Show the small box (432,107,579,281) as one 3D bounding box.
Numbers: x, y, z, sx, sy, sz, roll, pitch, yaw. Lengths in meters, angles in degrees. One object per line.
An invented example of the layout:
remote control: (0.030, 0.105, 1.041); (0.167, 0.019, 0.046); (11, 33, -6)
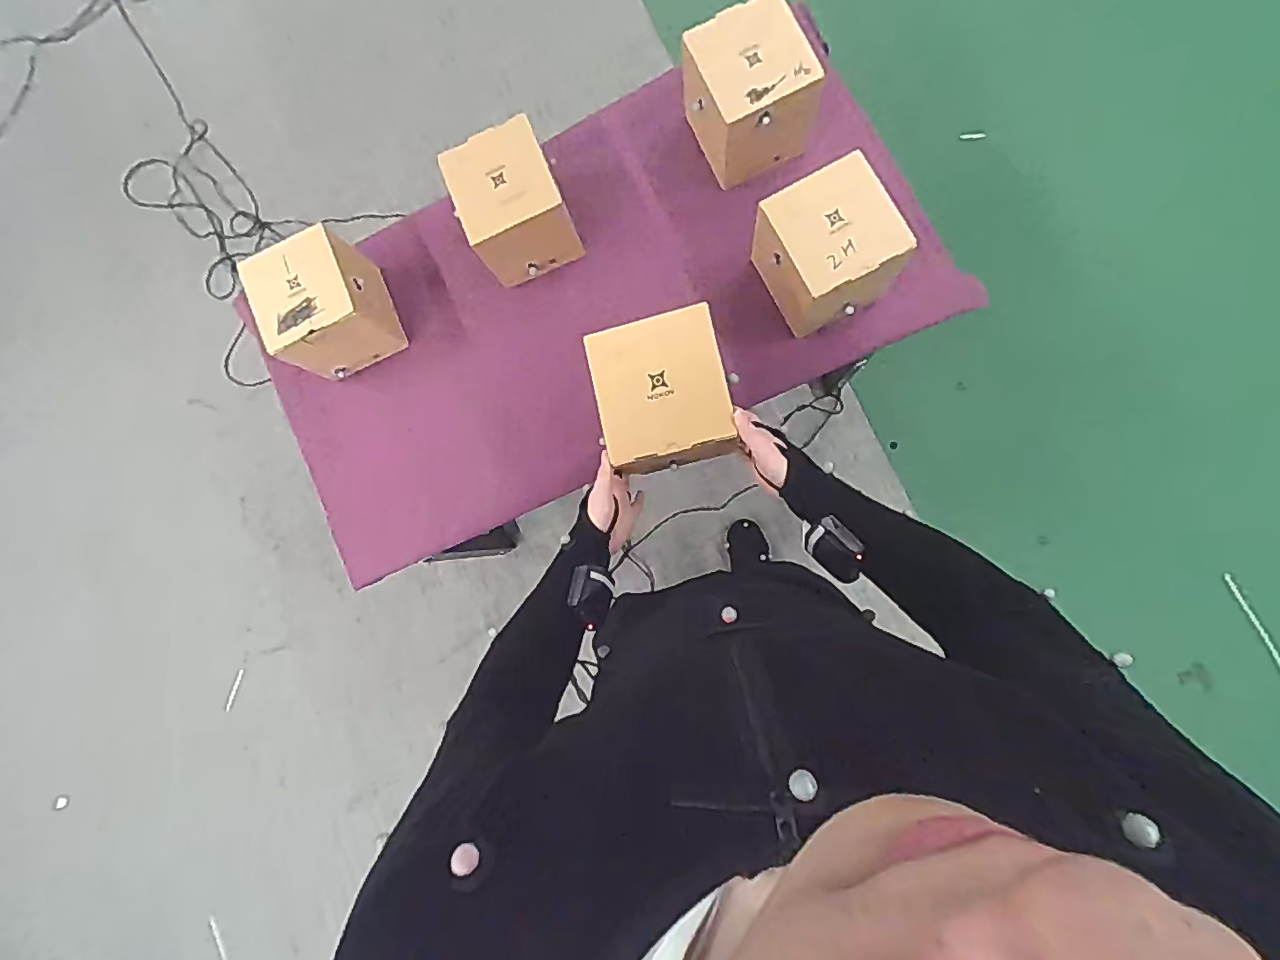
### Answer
small box: (-0.223, -0.483, 0.937); (0.168, 0.176, 0.179); (-23, 85, 4)

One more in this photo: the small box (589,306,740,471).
small box: (0.038, -0.116, 0.760); (0.168, 0.176, 0.179); (-13, 87, 7)

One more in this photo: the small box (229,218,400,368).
small box: (-0.560, -0.313, 0.955); (0.168, 0.176, 0.179); (-24, 84, 3)

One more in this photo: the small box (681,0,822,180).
small box: (0.176, -0.655, 0.907); (0.168, 0.176, 0.179); (-24, 83, 5)

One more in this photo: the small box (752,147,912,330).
small box: (0.293, -0.375, 0.871); (0.168, 0.176, 0.179); (-26, 83, 5)
